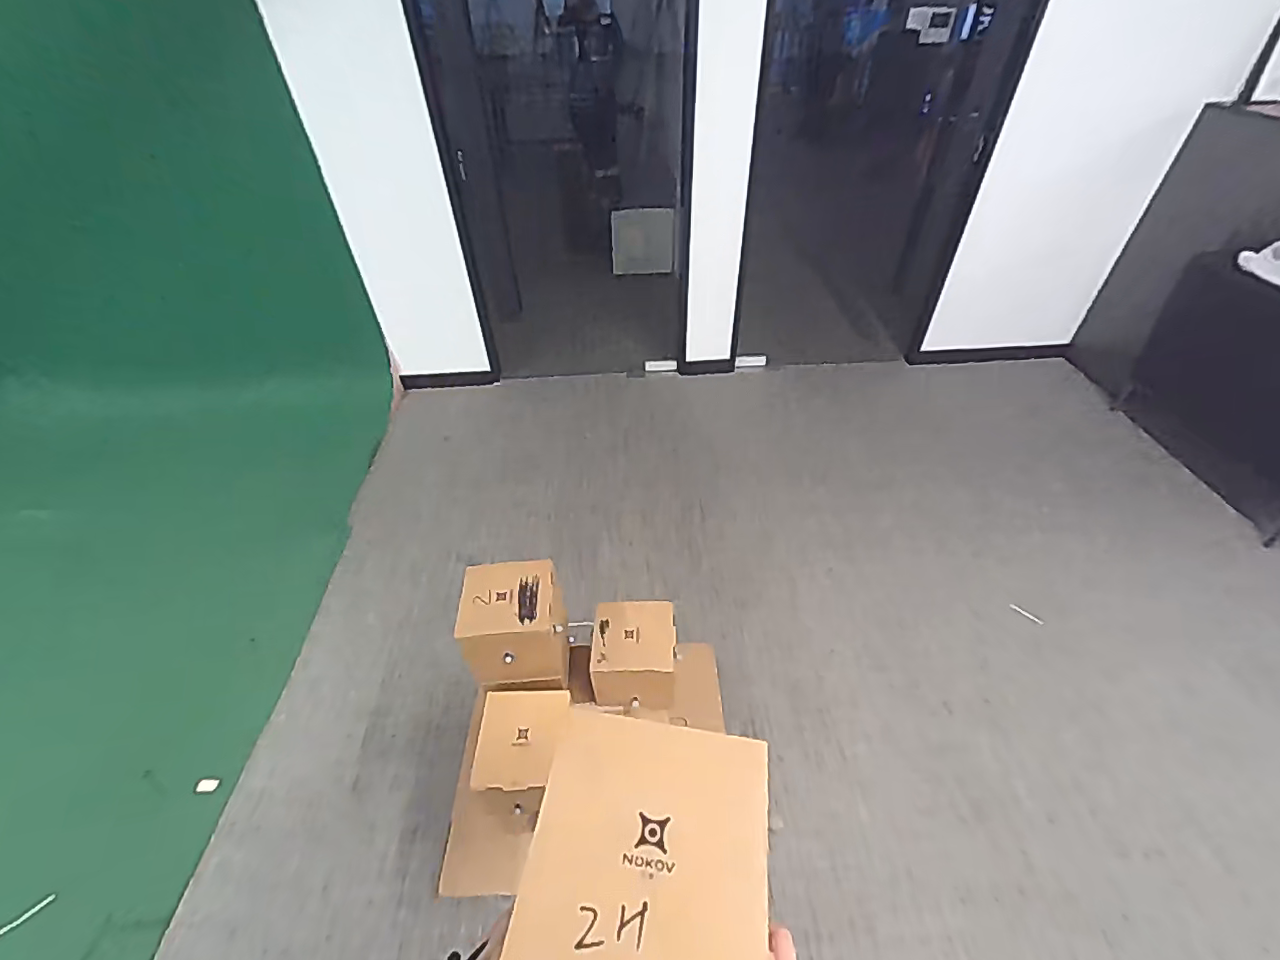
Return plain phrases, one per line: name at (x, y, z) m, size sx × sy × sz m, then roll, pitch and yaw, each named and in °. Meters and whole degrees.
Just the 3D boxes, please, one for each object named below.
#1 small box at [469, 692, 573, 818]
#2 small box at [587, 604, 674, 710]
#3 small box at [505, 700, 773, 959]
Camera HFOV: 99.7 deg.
small box at (-0.218, 0.535, 1.051) m, size 0.168 × 0.176 × 0.179 m, roll -1°, pitch 44°, yaw -1°
small box at (-0.014, 0.393, 1.196) m, size 0.179 × 0.176 × 0.168 m, roll -1°, pitch 43°, yaw 4°
small box at (0.009, 0.311, 0.434) m, size 0.168 × 0.176 × 0.179 m, roll 7°, pitch 43°, yaw 7°
